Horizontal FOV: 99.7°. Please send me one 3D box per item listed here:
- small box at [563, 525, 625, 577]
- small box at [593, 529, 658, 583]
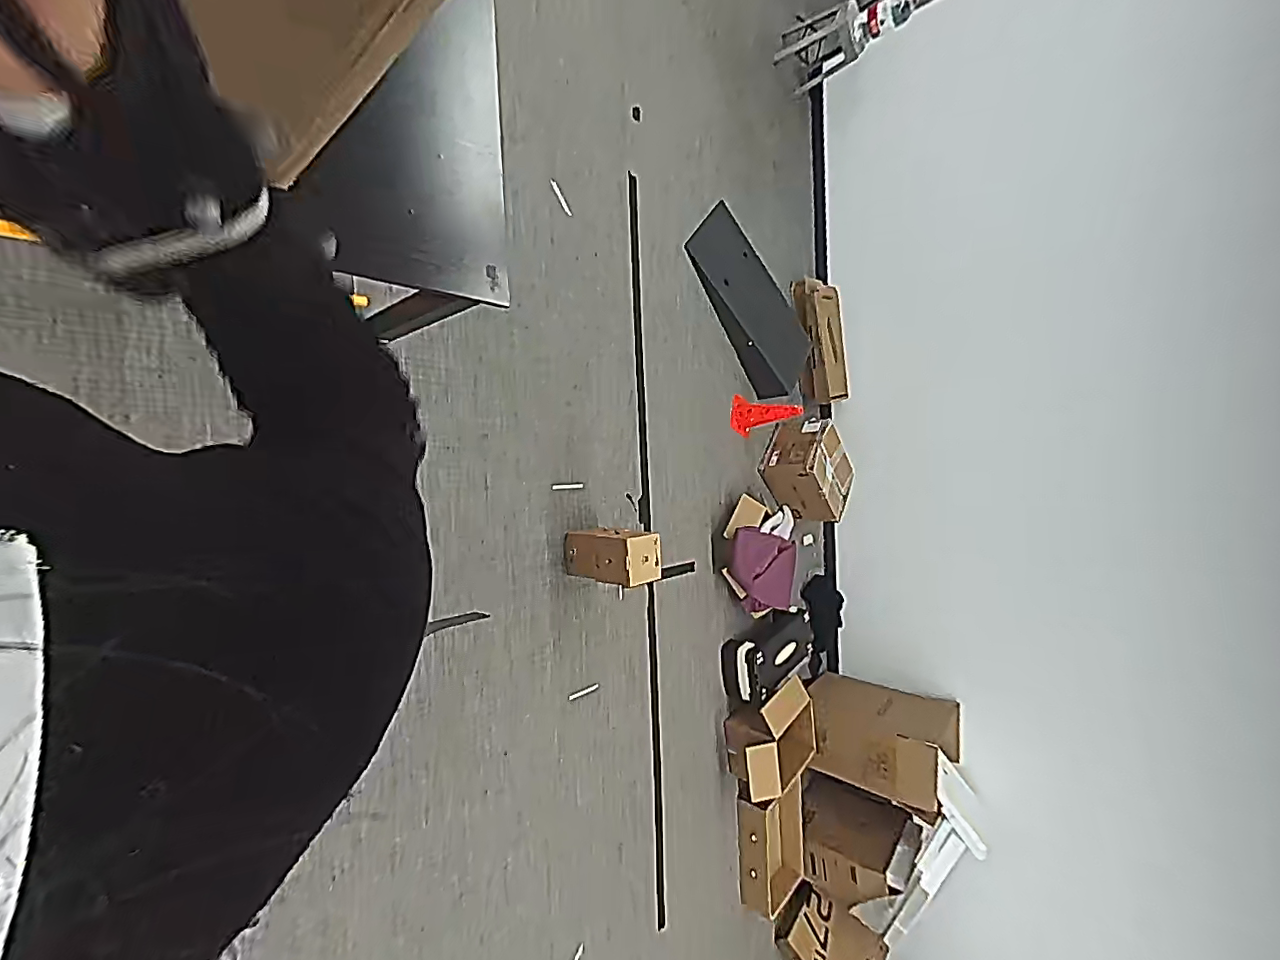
[{"bbox_3d":[-0.170,0.263,2.040,0.179,0.176,0.168,-5,93,-48],"label":"small box"},{"bbox_3d":[-0.057,0.265,1.919,0.179,0.176,0.168,-3,91,-49],"label":"small box"}]
